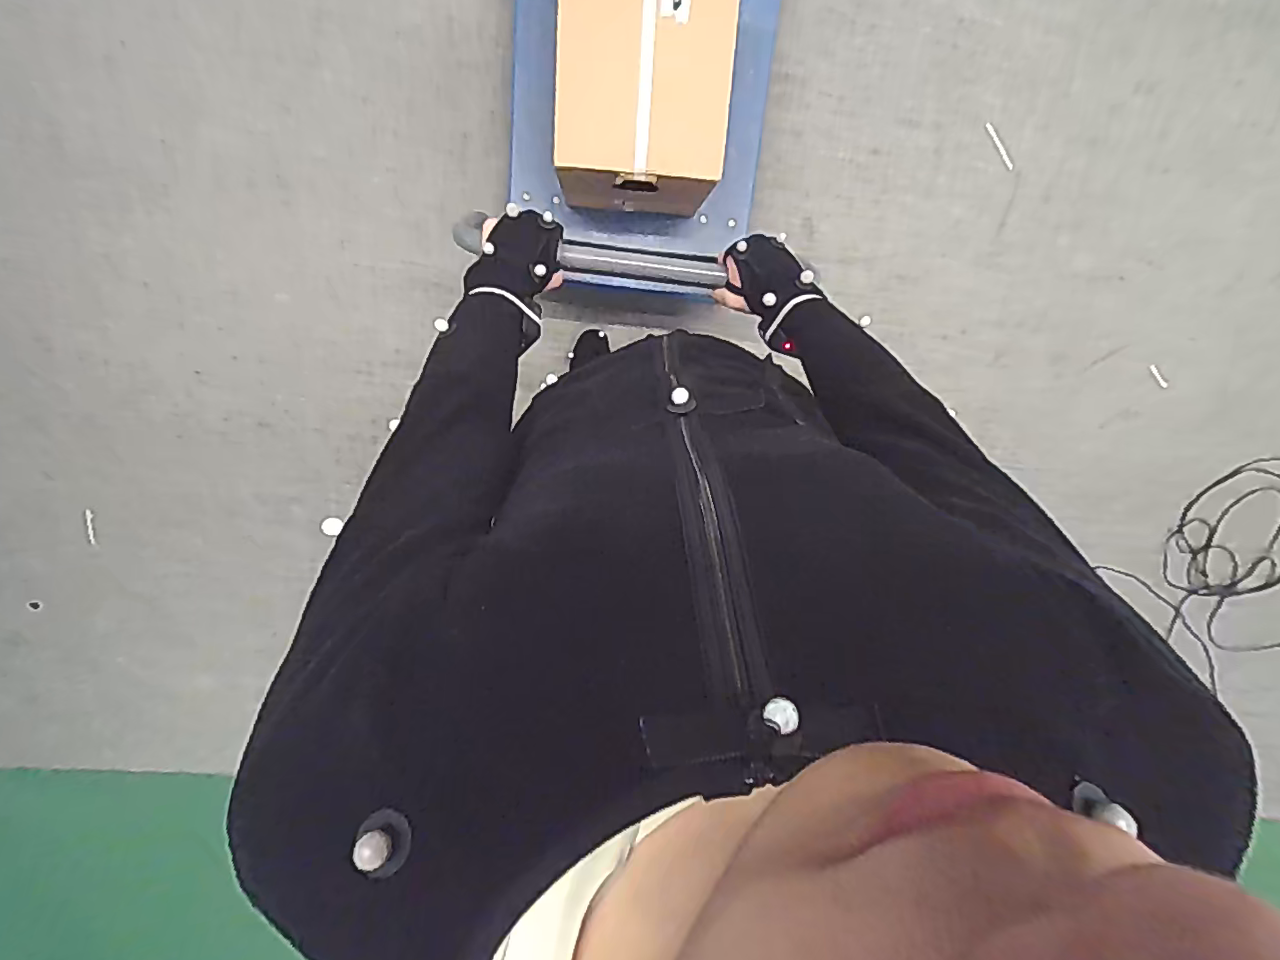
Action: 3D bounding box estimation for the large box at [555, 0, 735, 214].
[{"bbox_3d":[0.001,-0.793,1.098,0.320,0.320,0.408,3,105,-4],"label":"large box"}]
